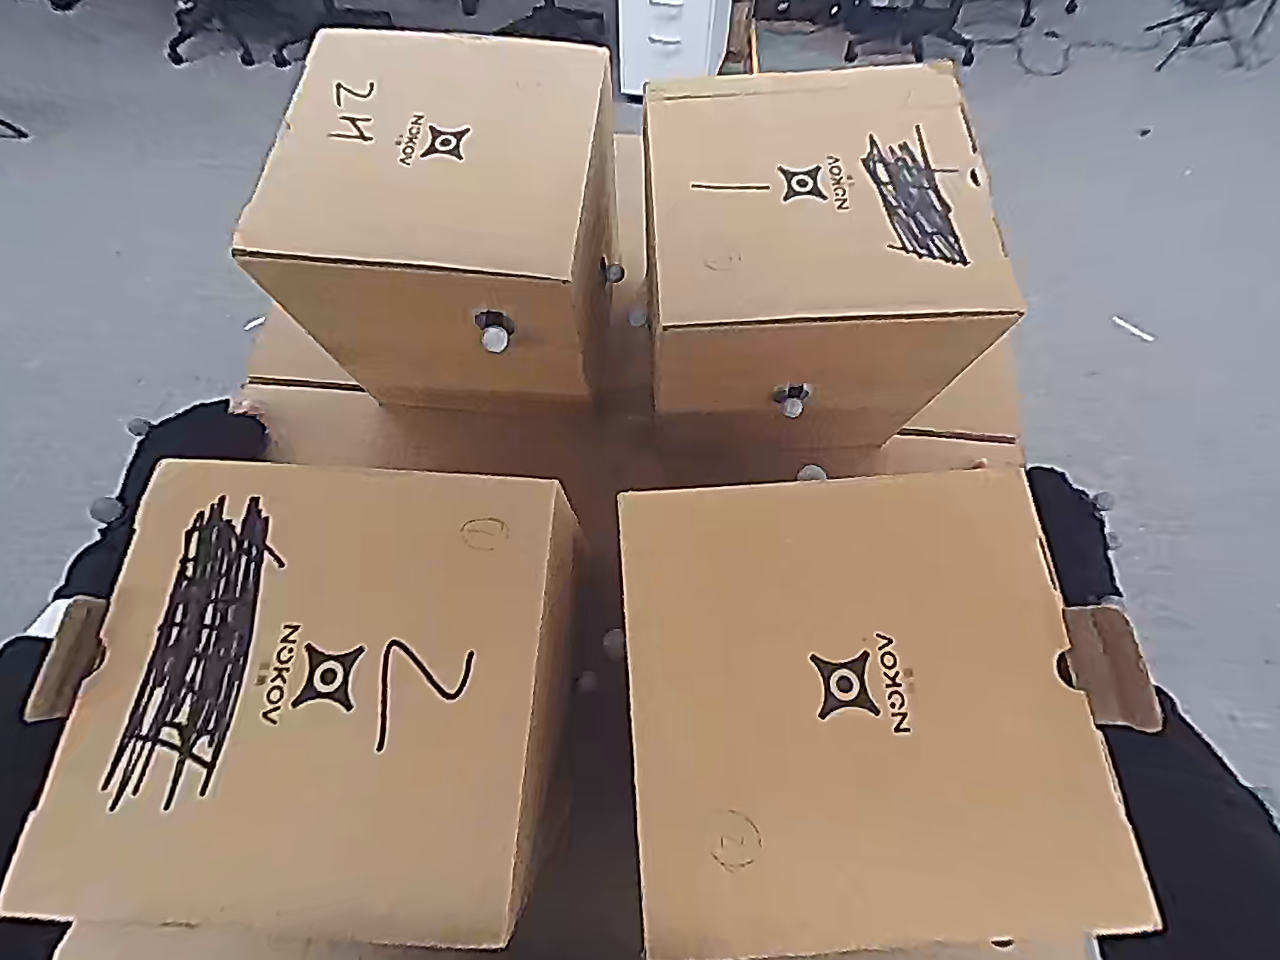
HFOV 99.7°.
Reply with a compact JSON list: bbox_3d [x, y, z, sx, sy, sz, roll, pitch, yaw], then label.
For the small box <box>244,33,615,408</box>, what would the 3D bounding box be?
[{"bbox_3d":[-0.114,-0.163,0.382,0.179,0.176,0.168,6,71,3],"label":"small box"}]
